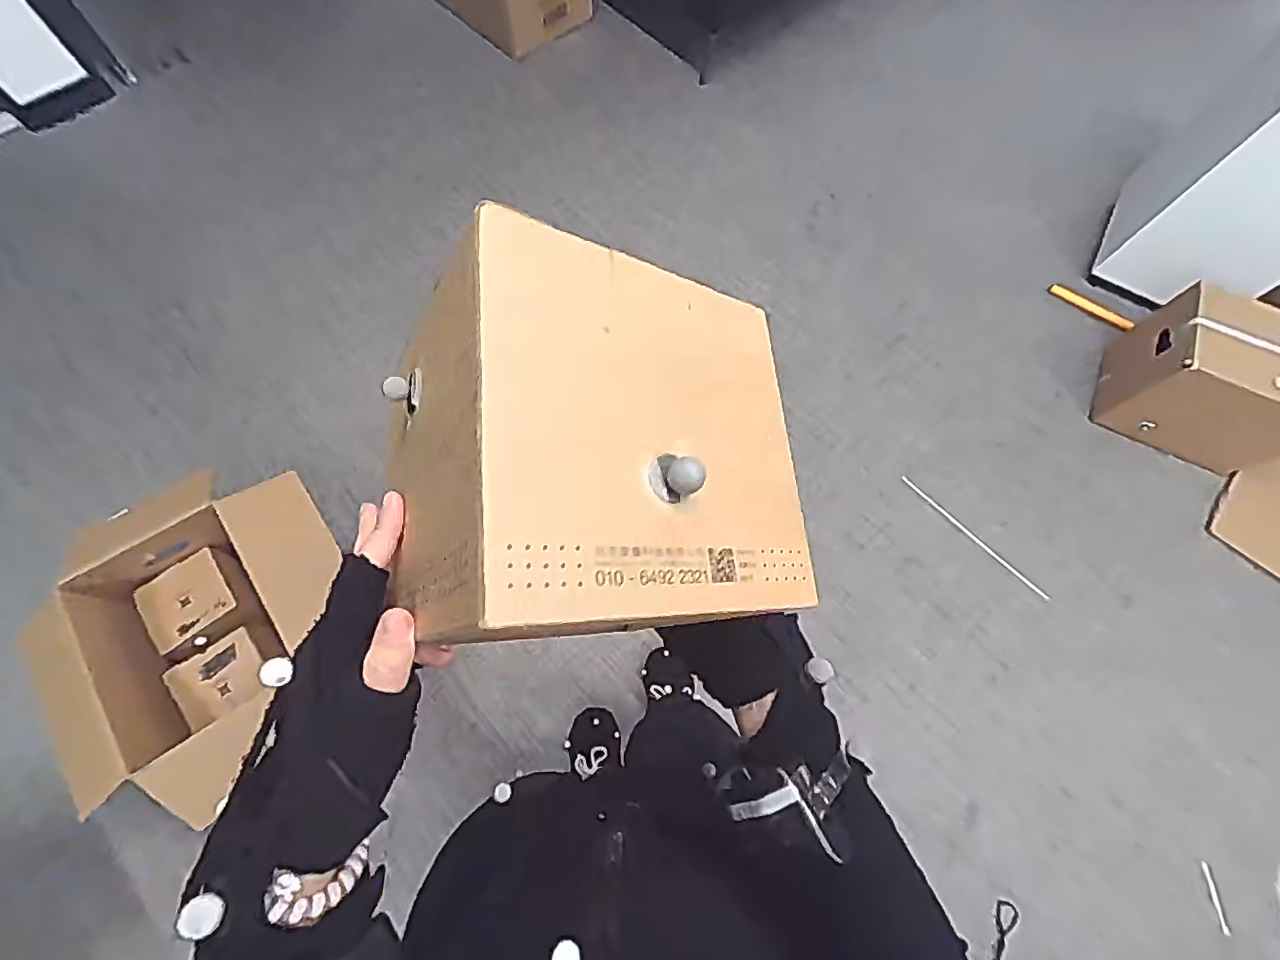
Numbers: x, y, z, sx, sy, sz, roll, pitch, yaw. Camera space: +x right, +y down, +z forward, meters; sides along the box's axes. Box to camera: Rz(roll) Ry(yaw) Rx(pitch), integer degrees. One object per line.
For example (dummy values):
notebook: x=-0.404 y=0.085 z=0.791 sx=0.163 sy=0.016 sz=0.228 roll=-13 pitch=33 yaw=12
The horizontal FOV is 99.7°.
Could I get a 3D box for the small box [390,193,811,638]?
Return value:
small box: x=-0.033 y=-0.006 z=0.302 sx=0.168 sy=0.179 sz=0.176 roll=7 pitch=70 yaw=-35
